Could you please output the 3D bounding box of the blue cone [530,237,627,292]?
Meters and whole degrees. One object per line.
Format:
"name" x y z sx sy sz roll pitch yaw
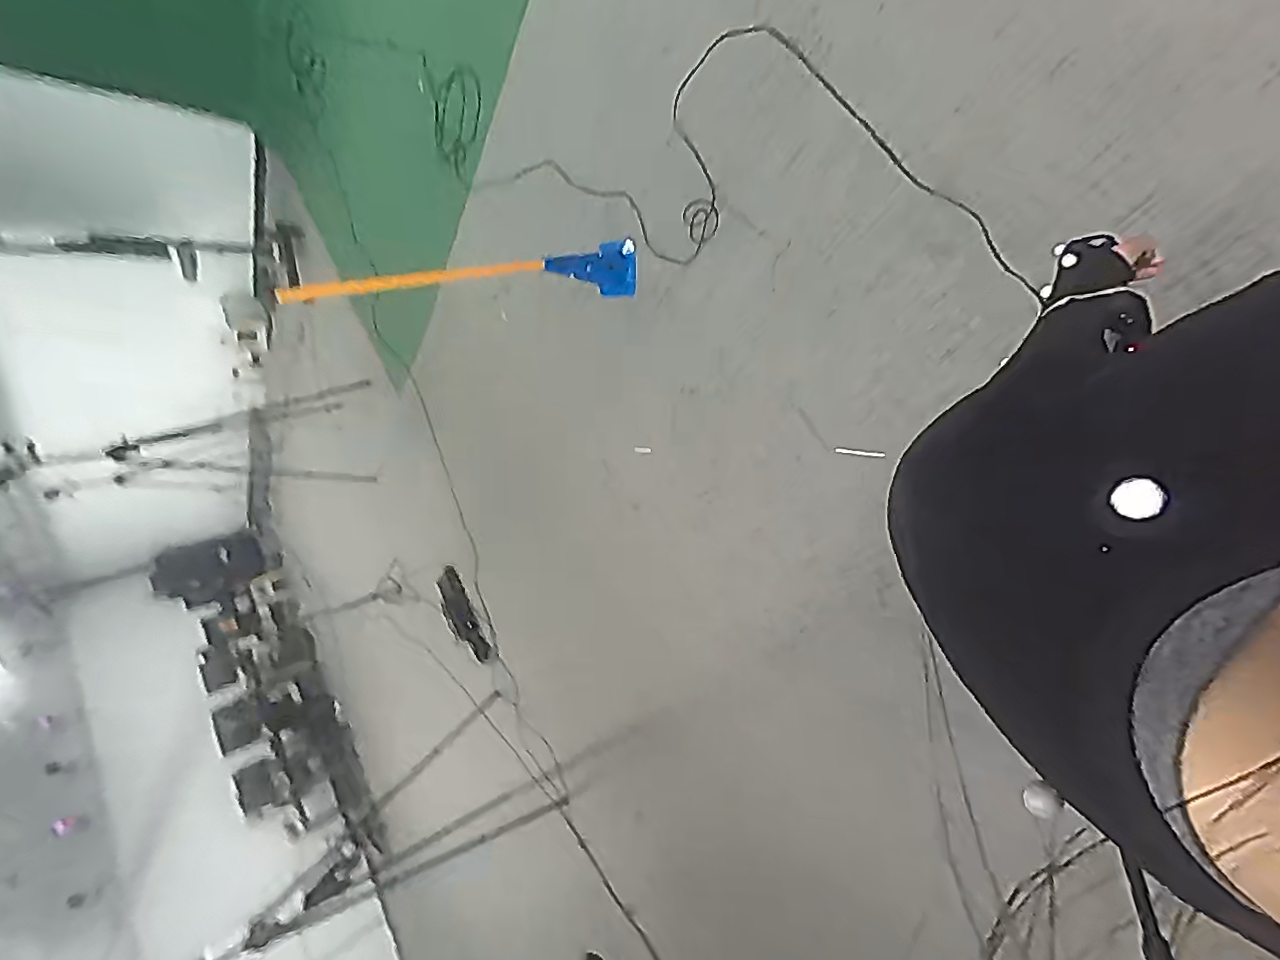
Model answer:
"blue cone" -0.229 -0.787 1.955 0.192 0.380 0.193 13 112 41
